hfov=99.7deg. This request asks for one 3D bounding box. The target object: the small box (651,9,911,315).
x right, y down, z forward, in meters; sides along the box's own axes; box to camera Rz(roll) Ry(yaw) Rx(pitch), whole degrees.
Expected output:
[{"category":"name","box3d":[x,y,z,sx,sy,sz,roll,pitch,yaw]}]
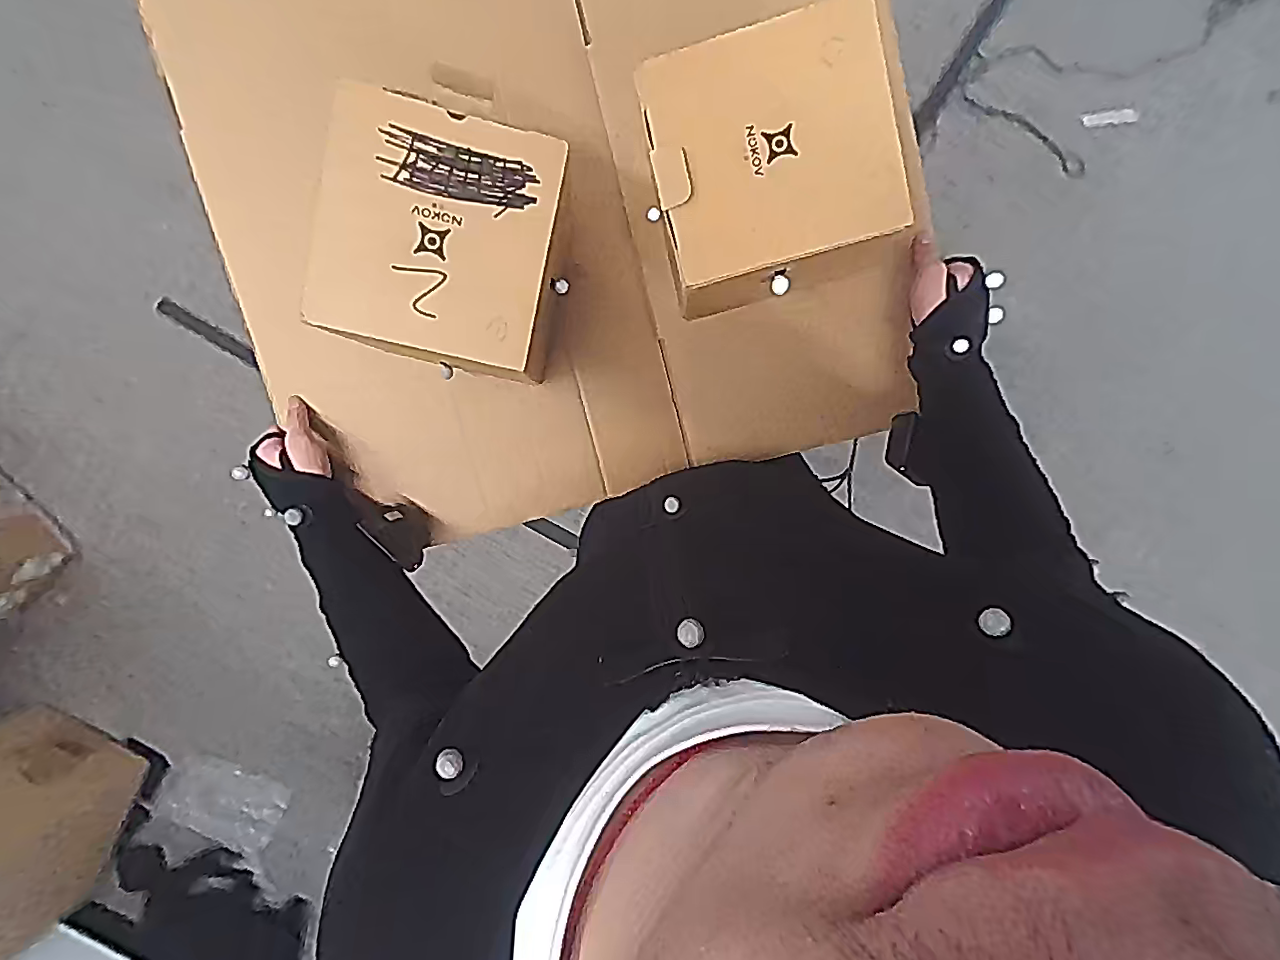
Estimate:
[{"category":"small box","box3d":[0.114,-0.261,0.493,0.179,0.176,0.168,-12,97,7]}]
